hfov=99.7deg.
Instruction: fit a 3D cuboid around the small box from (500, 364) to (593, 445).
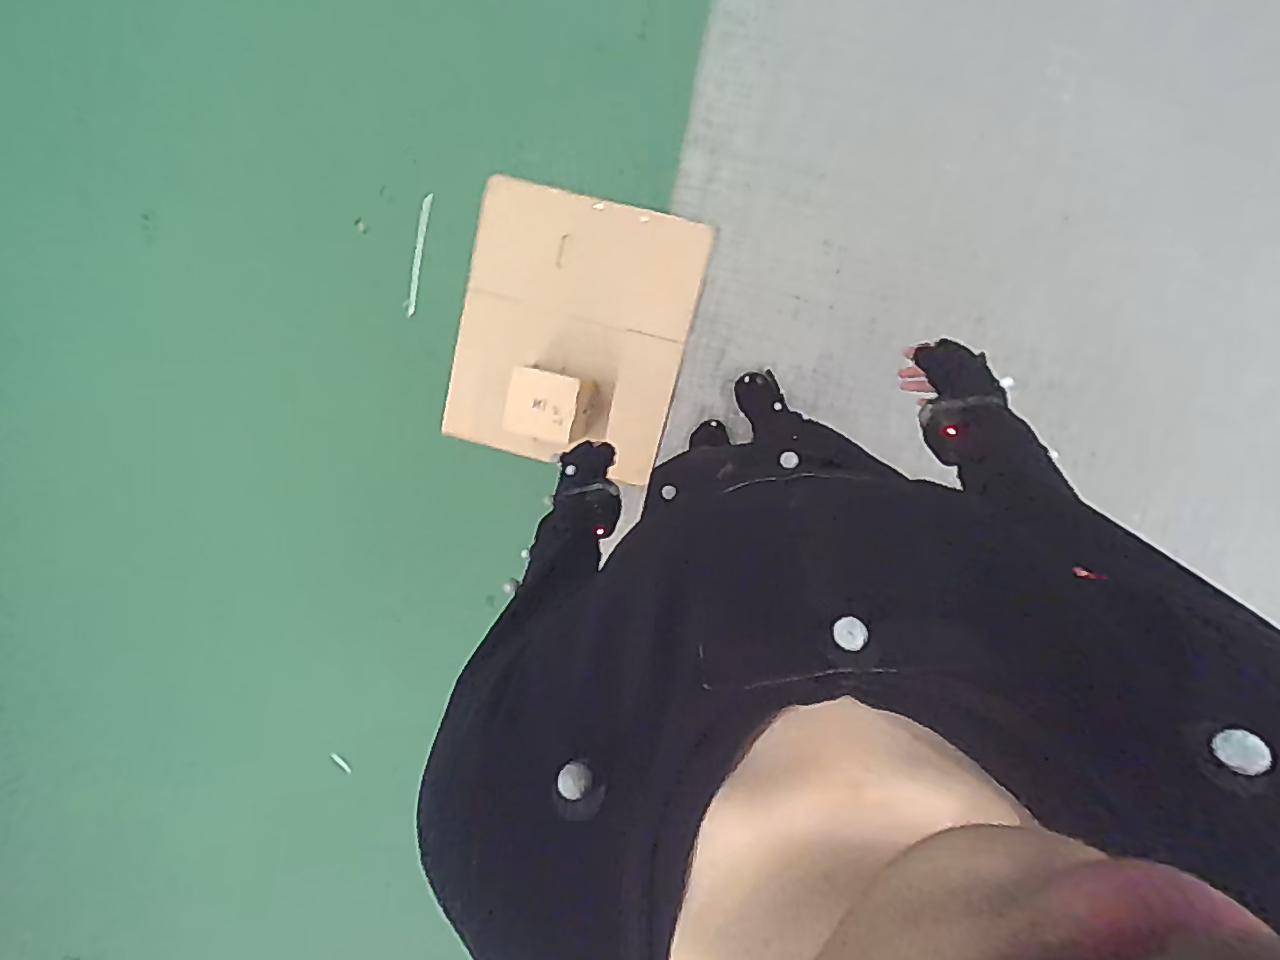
[{"bbox_3d":[-0.234,-0.195,1.386,0.179,0.176,0.168,14,102,5],"label":"small box"}]
